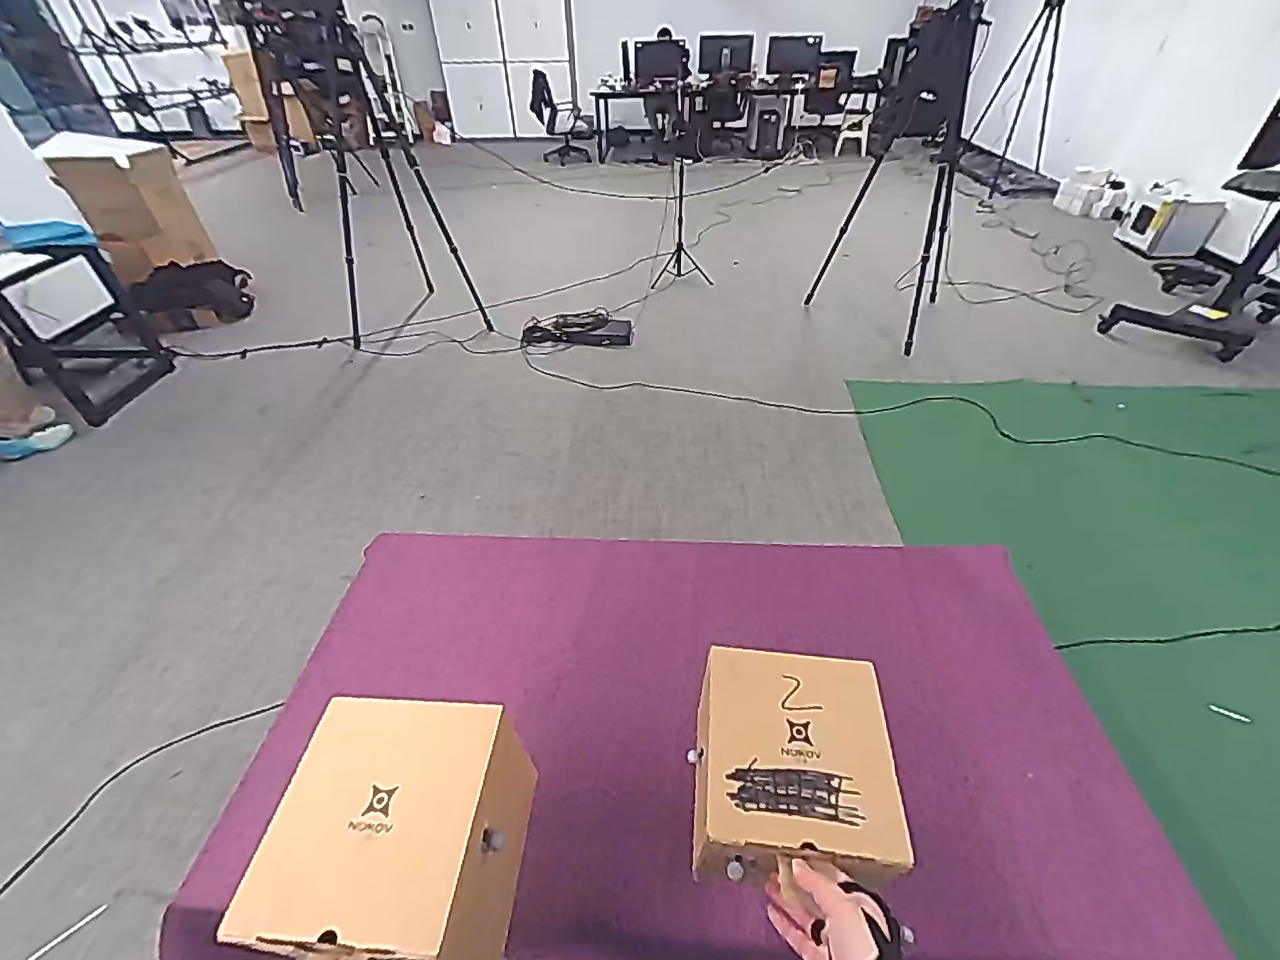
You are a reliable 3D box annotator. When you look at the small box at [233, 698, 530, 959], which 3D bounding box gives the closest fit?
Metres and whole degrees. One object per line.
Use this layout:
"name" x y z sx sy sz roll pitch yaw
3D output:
"small box" -0.209 0.328 0.503 0.168 0.176 0.179 1 45 5
